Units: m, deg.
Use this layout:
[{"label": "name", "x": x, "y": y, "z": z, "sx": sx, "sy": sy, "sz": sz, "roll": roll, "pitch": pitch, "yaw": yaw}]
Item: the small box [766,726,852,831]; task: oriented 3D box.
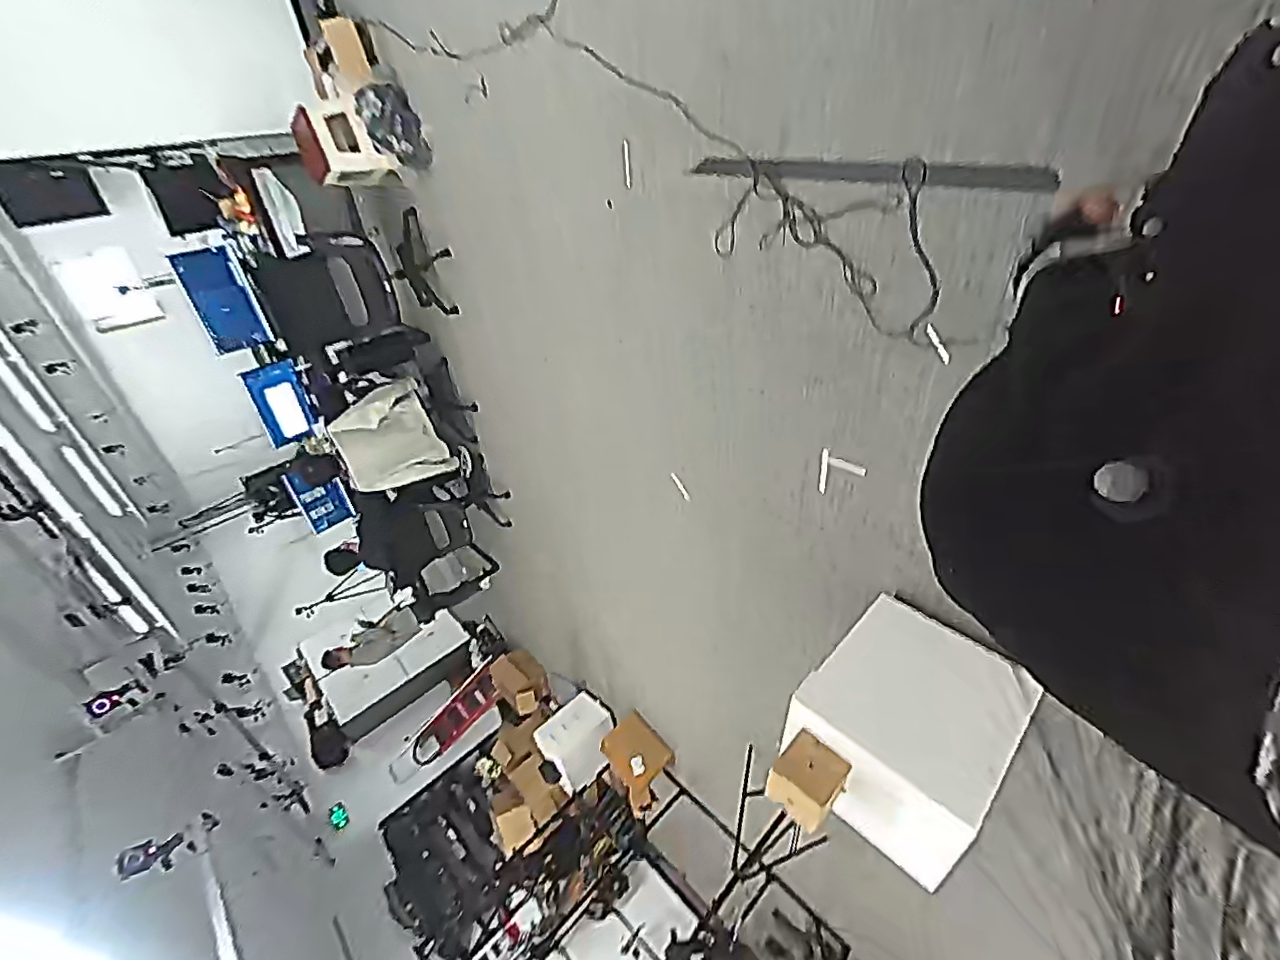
[{"label": "small box", "x": 0.491, "y": 0.860, "z": 1.570, "sx": 0.168, "sy": 0.176, "sz": 0.179, "roll": 30, "pitch": 138, "yaw": 35}]
